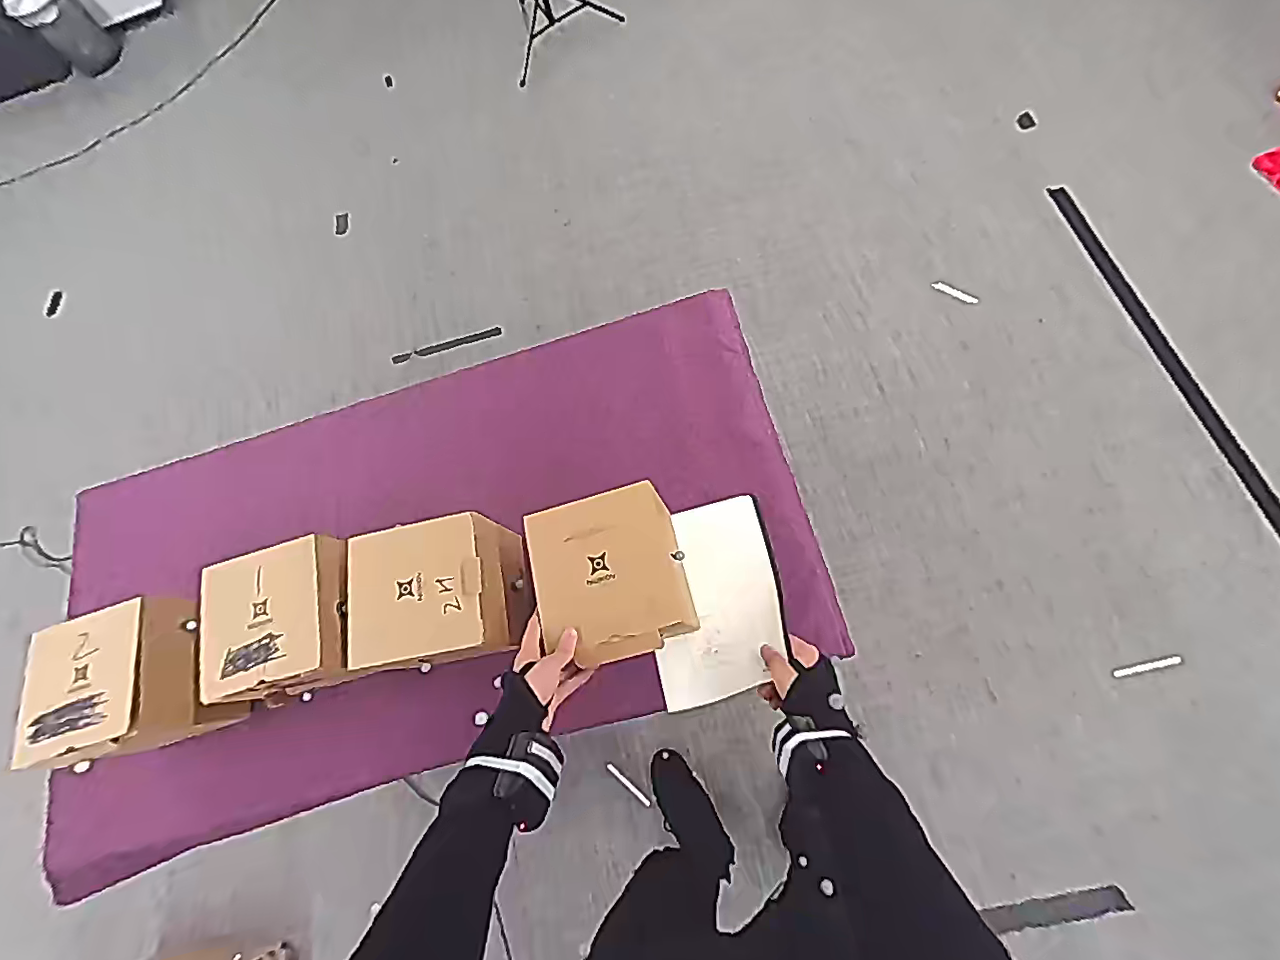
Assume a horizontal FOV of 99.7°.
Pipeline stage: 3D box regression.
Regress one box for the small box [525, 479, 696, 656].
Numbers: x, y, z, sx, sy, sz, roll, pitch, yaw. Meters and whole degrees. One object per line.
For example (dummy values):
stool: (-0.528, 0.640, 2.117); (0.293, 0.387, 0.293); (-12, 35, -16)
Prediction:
small box: (-0.031, 0.121, 0.701); (0.168, 0.176, 0.179); (-16, 70, 7)
